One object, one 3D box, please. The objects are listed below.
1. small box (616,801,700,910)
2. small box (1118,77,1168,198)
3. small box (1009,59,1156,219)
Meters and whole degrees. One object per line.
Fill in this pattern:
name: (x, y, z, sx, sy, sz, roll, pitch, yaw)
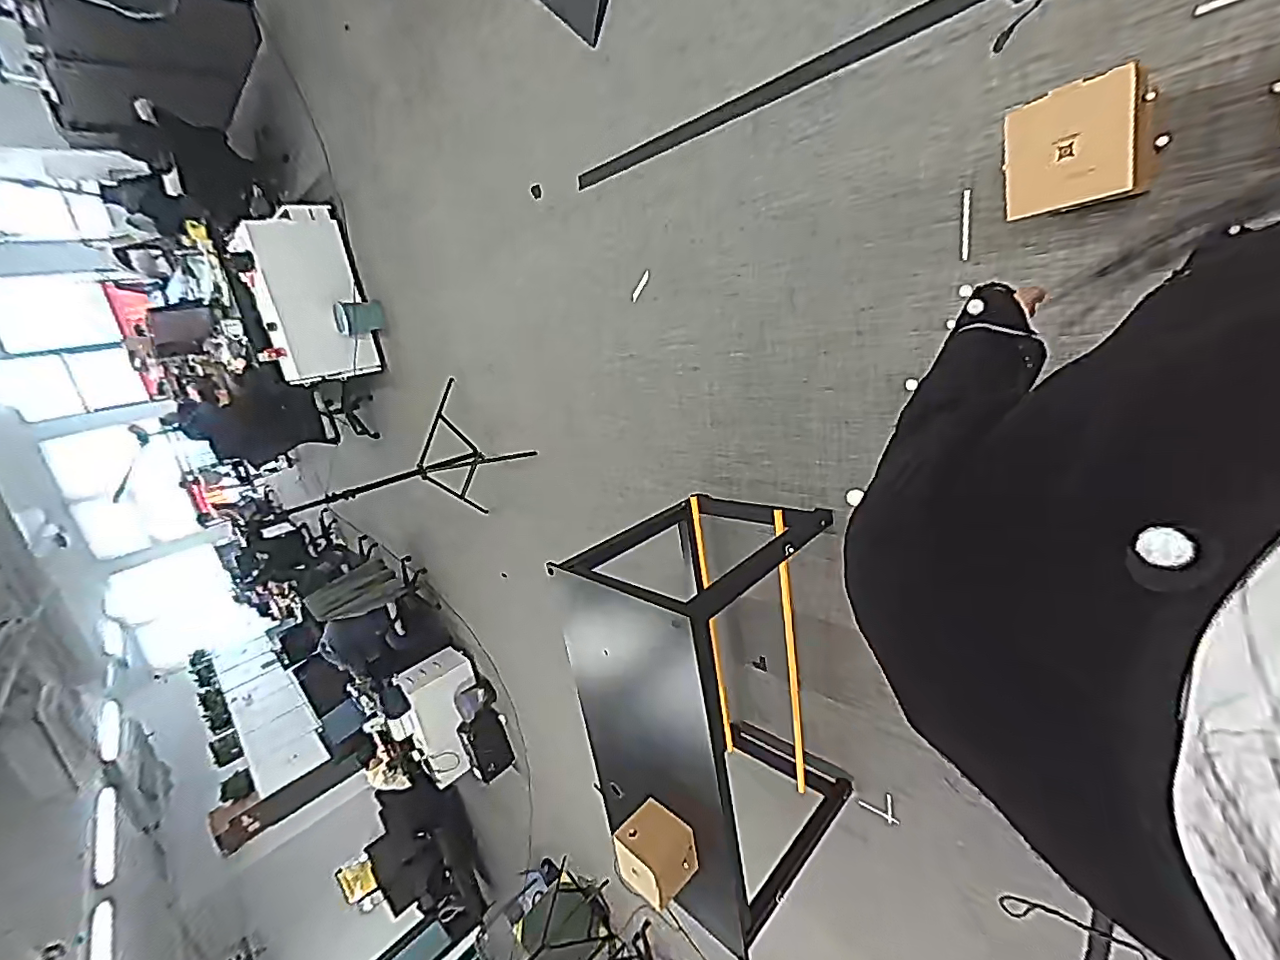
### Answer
small box: (0.056, 1.108, 1.617, 0.179, 0.176, 0.168, 11, 116, 46)
small box: (0.851, -0.610, 1.009, 0.179, 0.176, 0.168, 6, 114, 46)
small box: (0.739, -0.555, 0.905, 0.168, 0.176, 0.179, 4, 113, 49)
